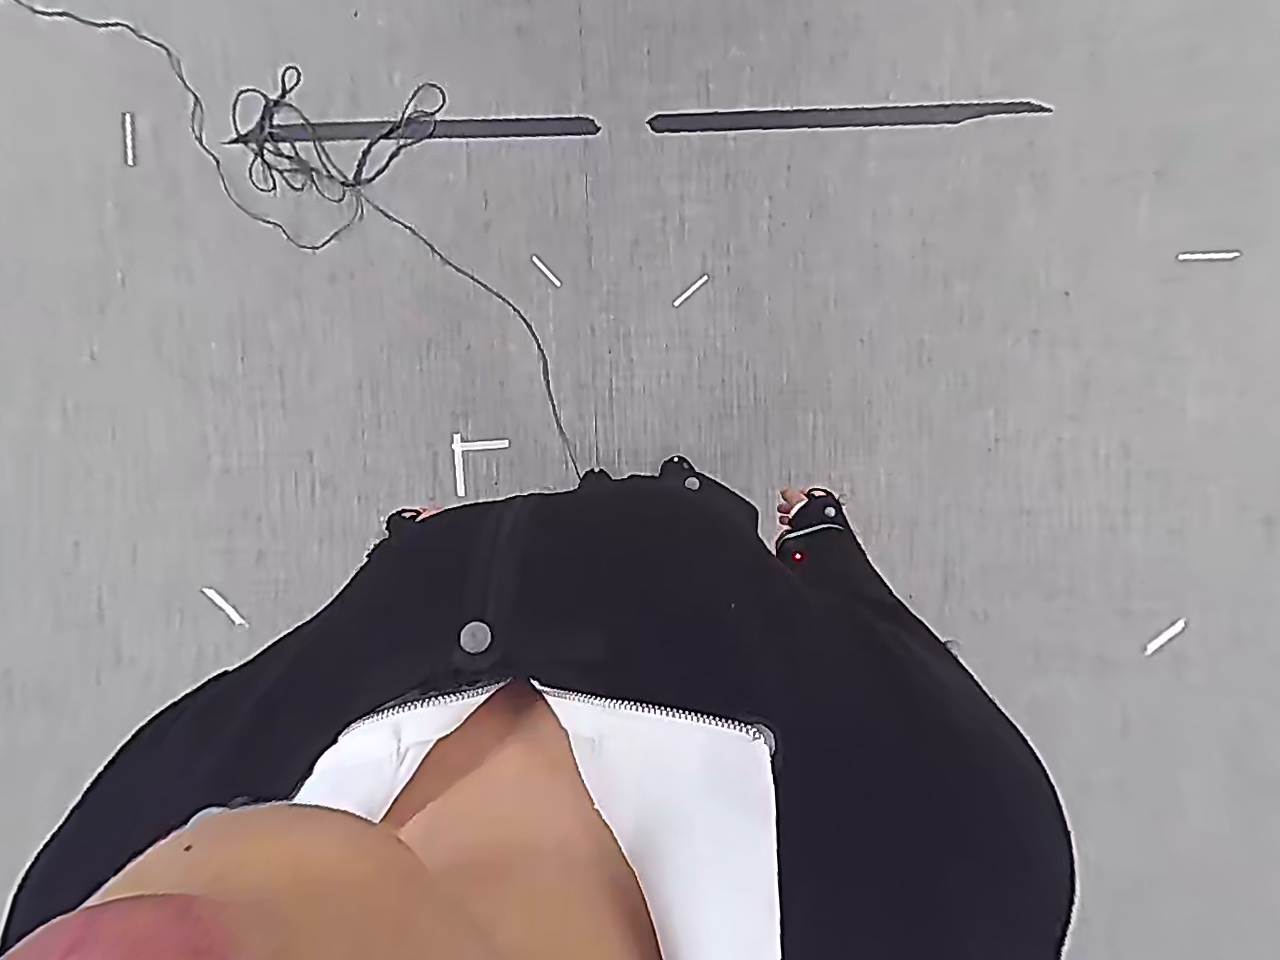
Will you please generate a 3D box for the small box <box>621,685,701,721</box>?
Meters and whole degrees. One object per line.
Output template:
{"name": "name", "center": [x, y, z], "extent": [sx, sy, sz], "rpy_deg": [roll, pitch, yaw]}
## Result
{"name": "small box", "center": [0.051, 0.568, 1.247], "extent": [0.179, 0.176, 0.168], "rpy_deg": [-5, 92, 1]}
